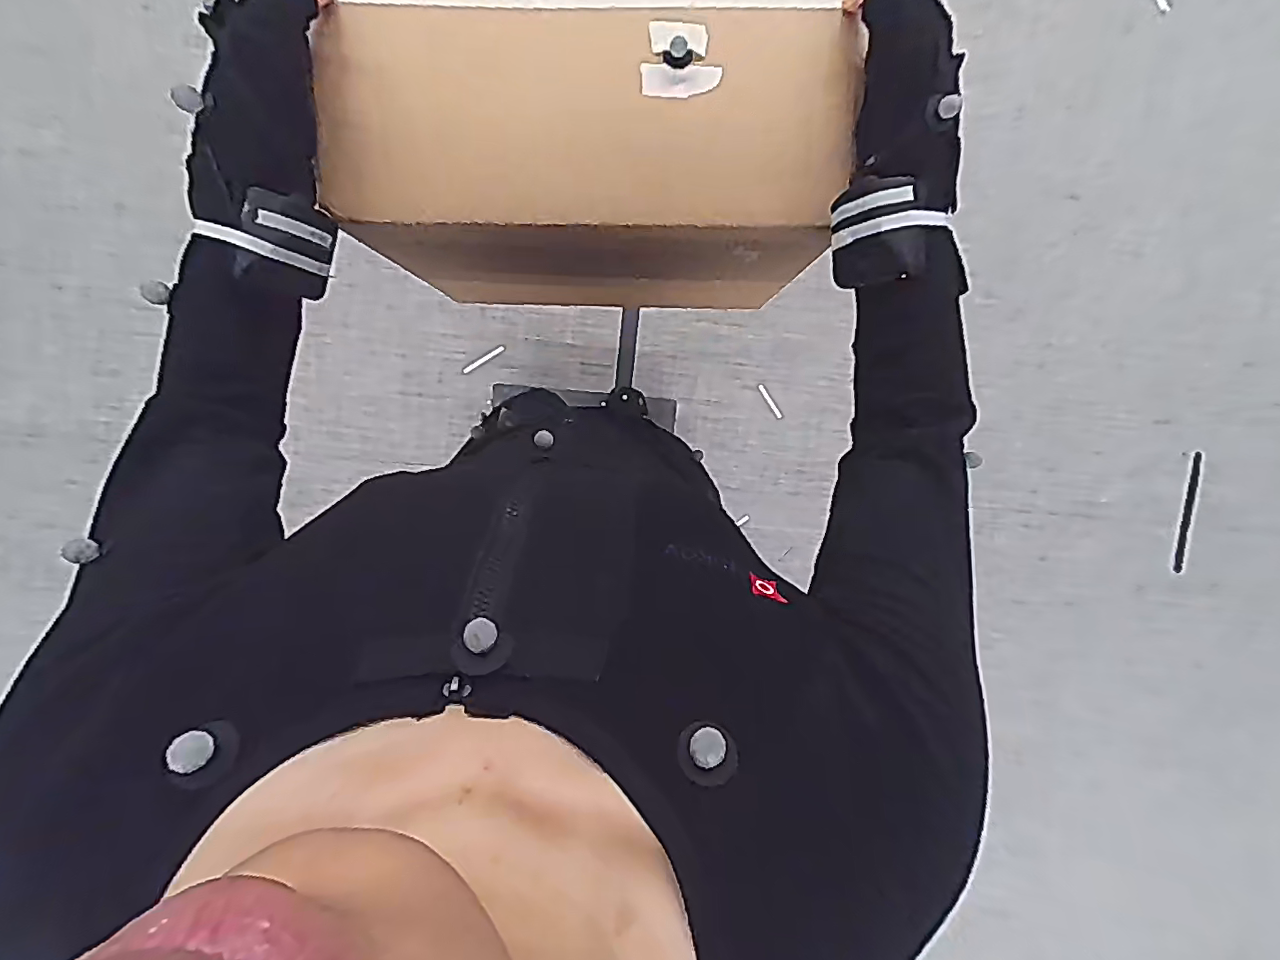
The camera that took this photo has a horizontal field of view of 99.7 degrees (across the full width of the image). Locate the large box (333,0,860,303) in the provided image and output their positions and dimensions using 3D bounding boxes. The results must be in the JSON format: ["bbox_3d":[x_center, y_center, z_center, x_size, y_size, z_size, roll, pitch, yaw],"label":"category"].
[{"bbox_3d":[-0.035,-0.373,0.554,0.408,0.320,0.320,0,97,-1],"label":"large box"}]
